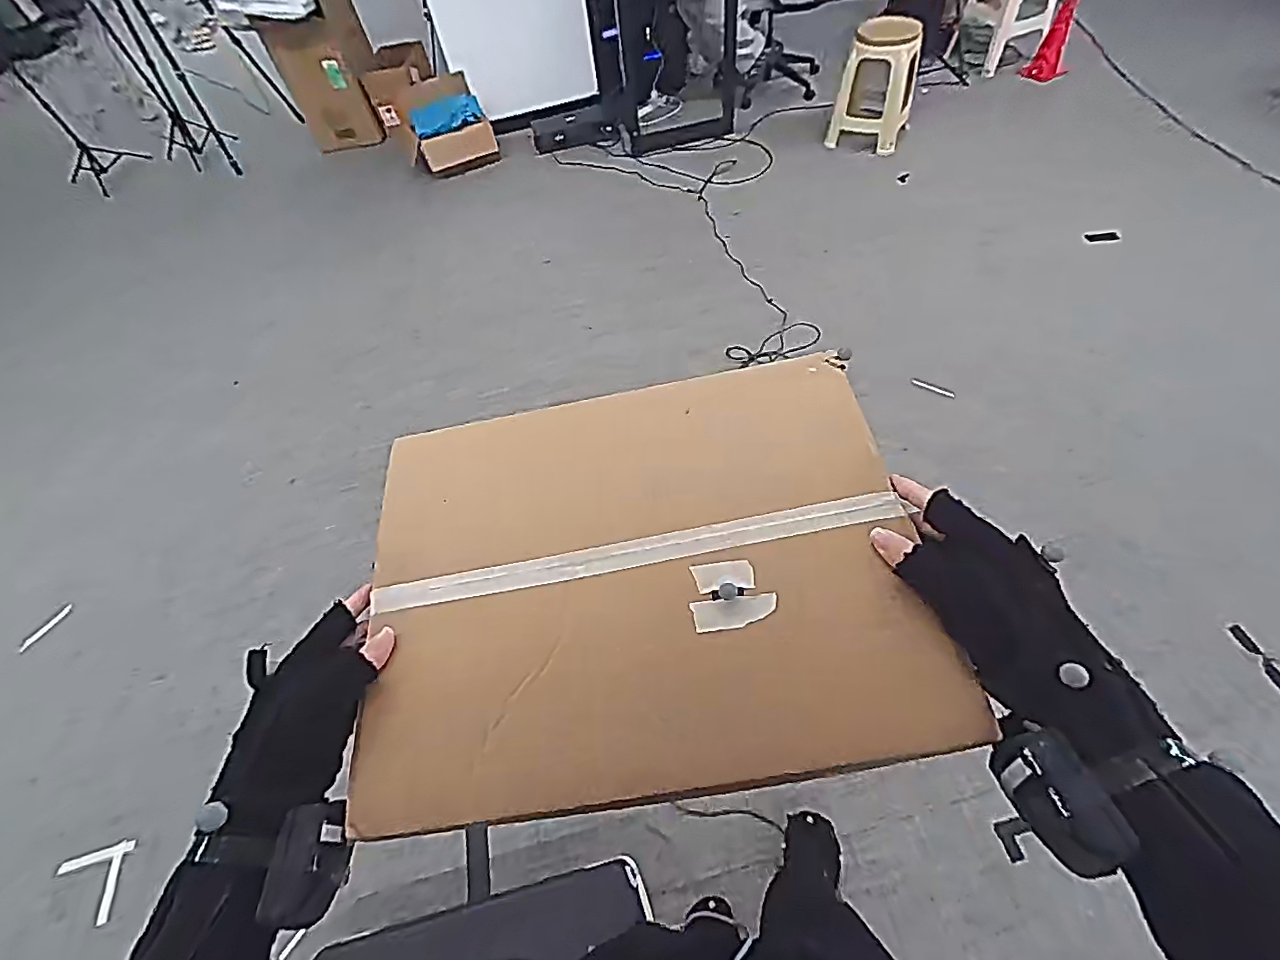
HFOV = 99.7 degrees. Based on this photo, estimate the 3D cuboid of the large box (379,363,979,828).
[{"bbox_3d":[0.019,0.134,0.549,0.408,0.320,0.320,-11,59,3],"label":"large box"}]
